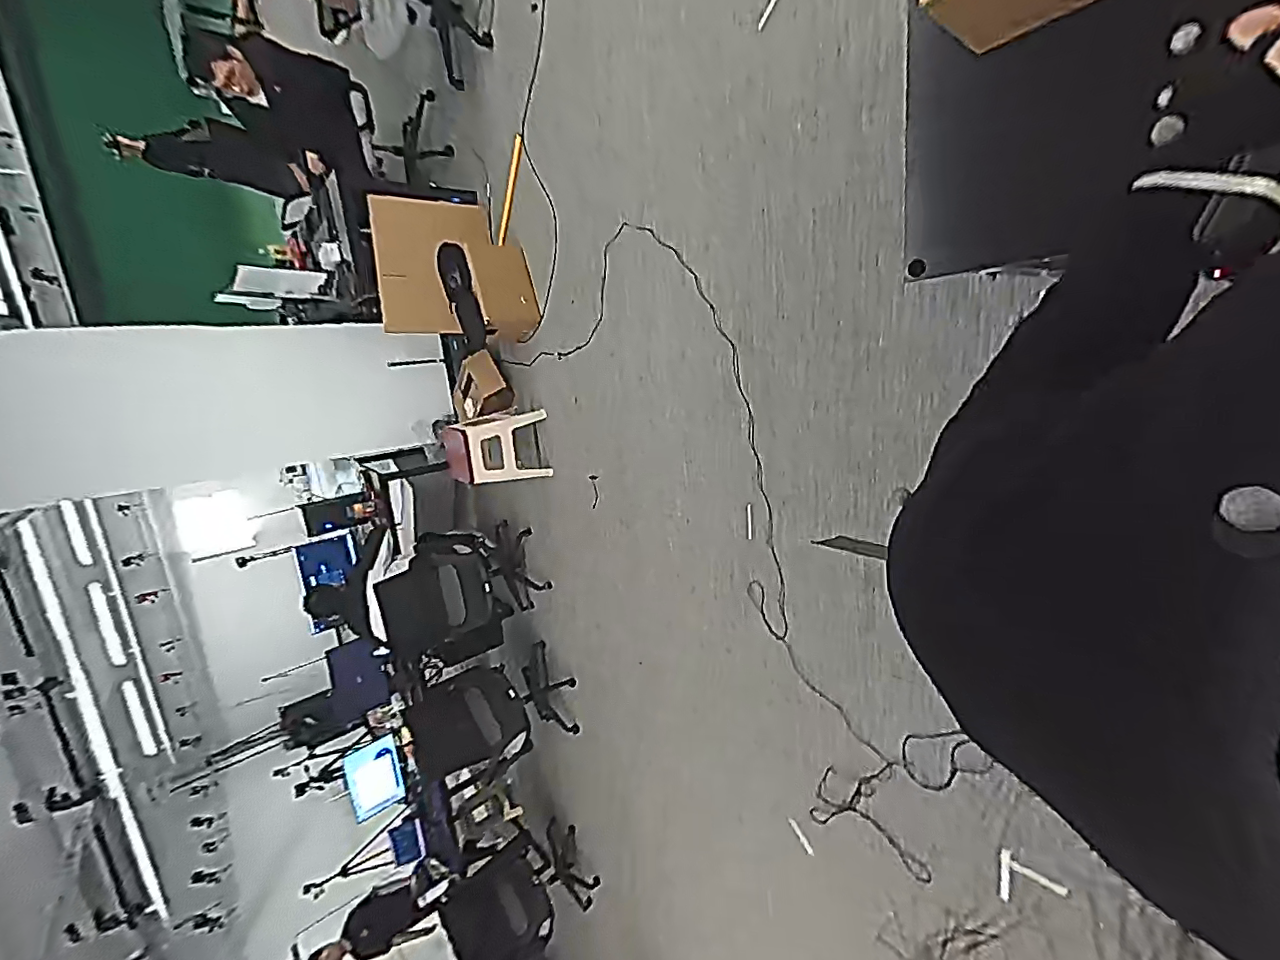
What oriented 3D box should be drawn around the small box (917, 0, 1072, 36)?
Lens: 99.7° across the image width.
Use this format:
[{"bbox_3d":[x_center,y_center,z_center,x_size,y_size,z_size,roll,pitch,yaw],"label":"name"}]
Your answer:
[{"bbox_3d":[0.381,-0.569,0.514,0.168,0.176,0.179,6,106,48],"label":"small box"}]
